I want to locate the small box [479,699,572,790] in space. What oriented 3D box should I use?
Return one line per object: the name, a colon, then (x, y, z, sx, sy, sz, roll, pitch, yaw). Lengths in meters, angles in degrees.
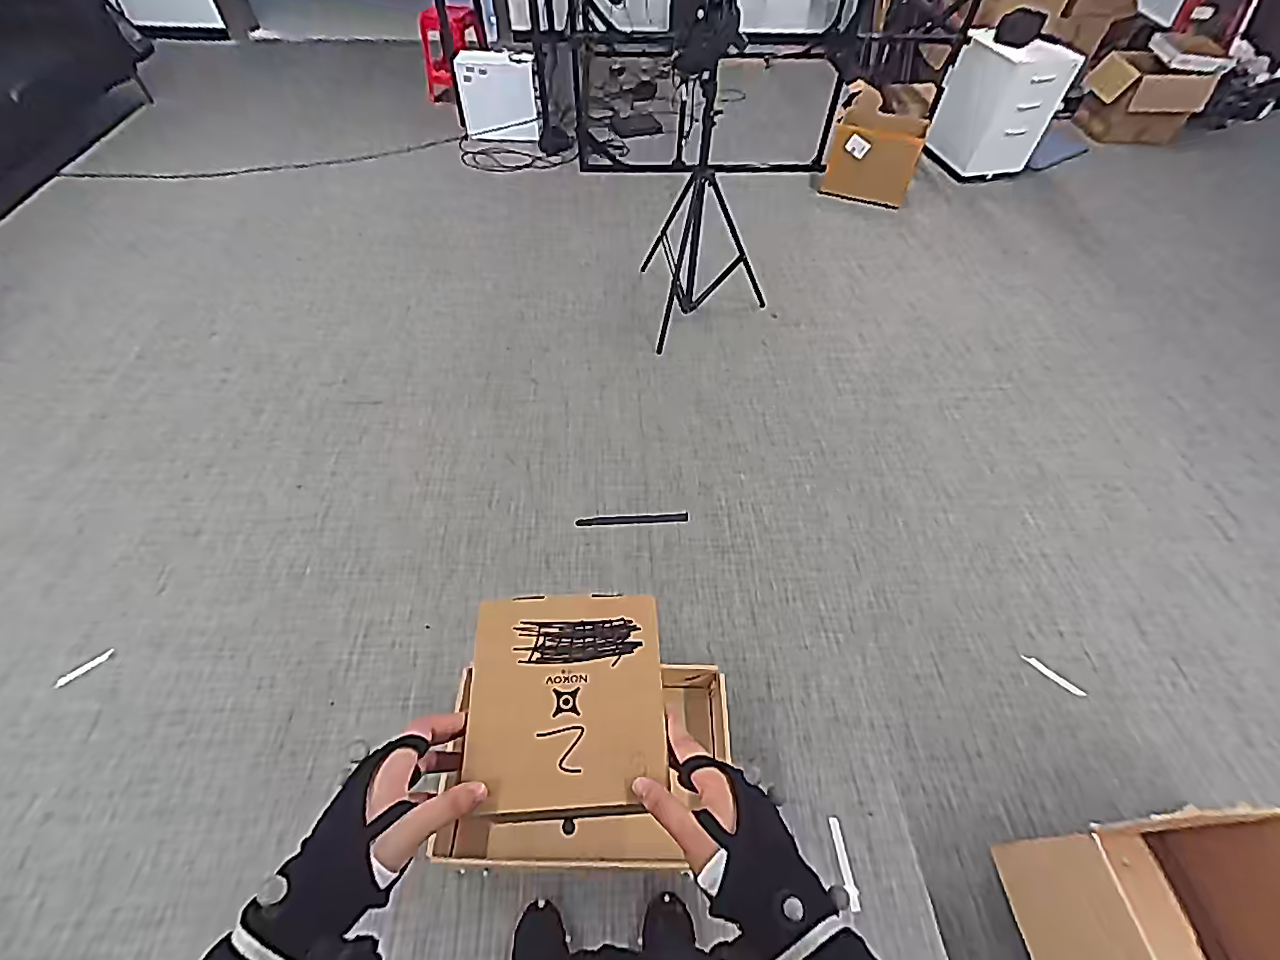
small box: (-0.253, 0.609, 1.239, 0.179, 0.176, 0.168, 3, 55, -2)
